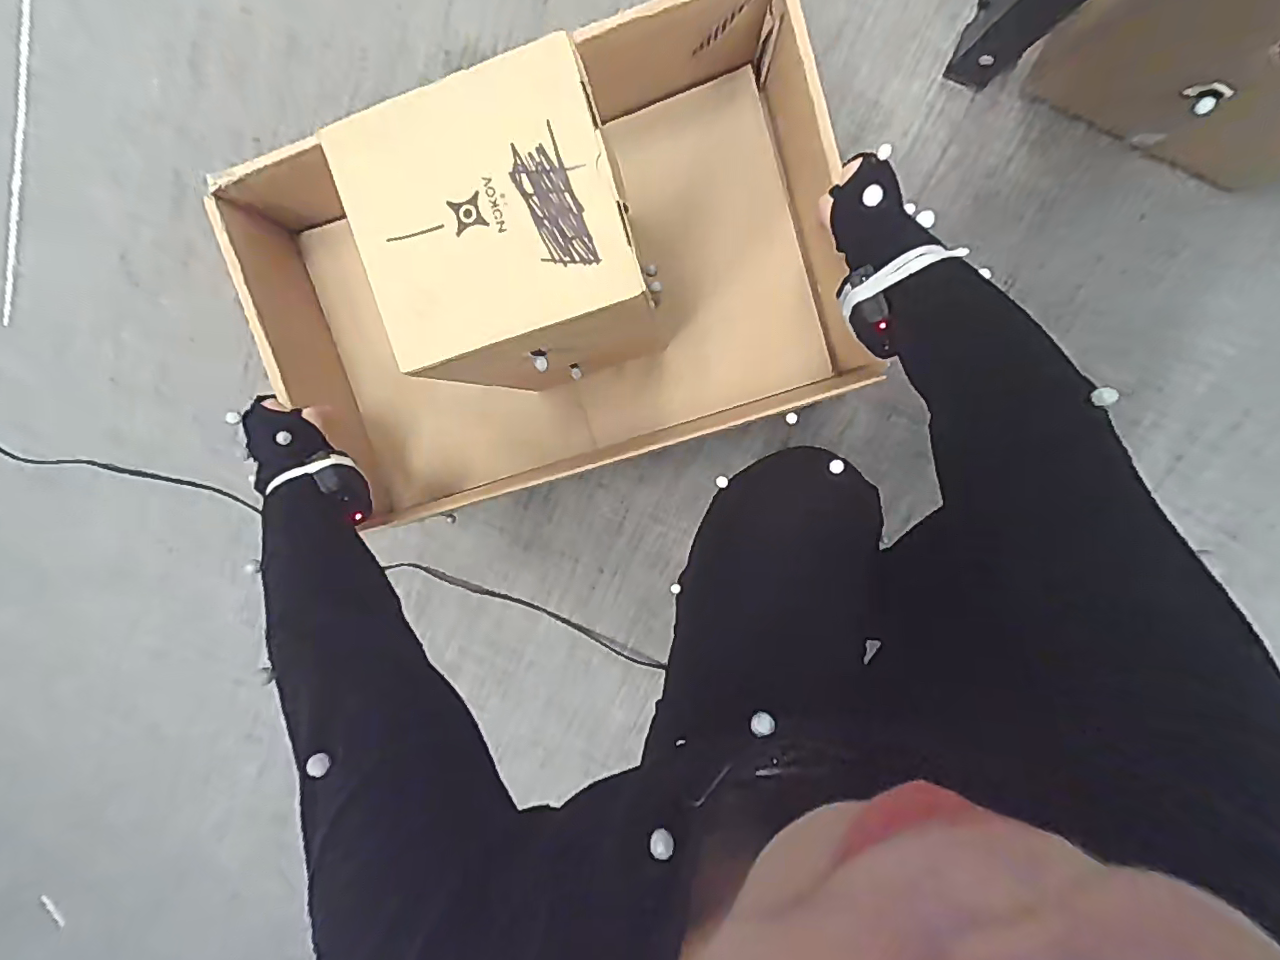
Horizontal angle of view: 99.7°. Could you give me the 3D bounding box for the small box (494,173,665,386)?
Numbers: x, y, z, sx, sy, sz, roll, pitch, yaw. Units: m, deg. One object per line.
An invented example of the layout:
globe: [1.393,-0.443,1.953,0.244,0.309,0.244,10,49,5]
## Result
small box: [-0.080,-0.206,0.593,0.179,0.176,0.168,-17,96,7]

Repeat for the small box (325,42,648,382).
small box: [-0.096,-0.182,0.430,0.179,0.176,0.168,-16,96,8]
